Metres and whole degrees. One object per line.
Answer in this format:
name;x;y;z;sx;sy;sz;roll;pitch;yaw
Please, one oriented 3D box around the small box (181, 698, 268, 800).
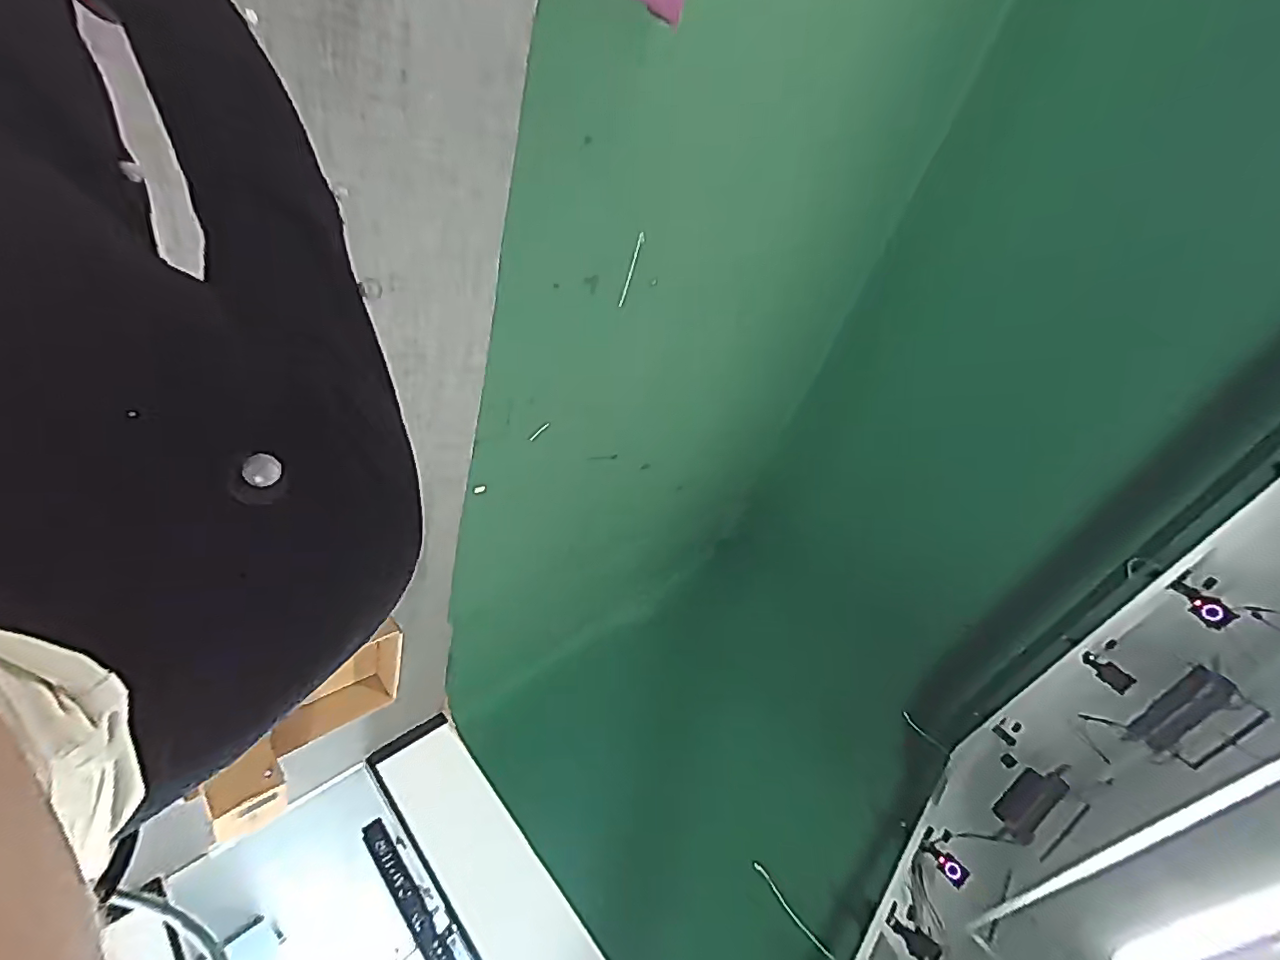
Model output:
small box;-1.211;0.778;1.578;0.168;0.176;0.179;-16;137;-45
